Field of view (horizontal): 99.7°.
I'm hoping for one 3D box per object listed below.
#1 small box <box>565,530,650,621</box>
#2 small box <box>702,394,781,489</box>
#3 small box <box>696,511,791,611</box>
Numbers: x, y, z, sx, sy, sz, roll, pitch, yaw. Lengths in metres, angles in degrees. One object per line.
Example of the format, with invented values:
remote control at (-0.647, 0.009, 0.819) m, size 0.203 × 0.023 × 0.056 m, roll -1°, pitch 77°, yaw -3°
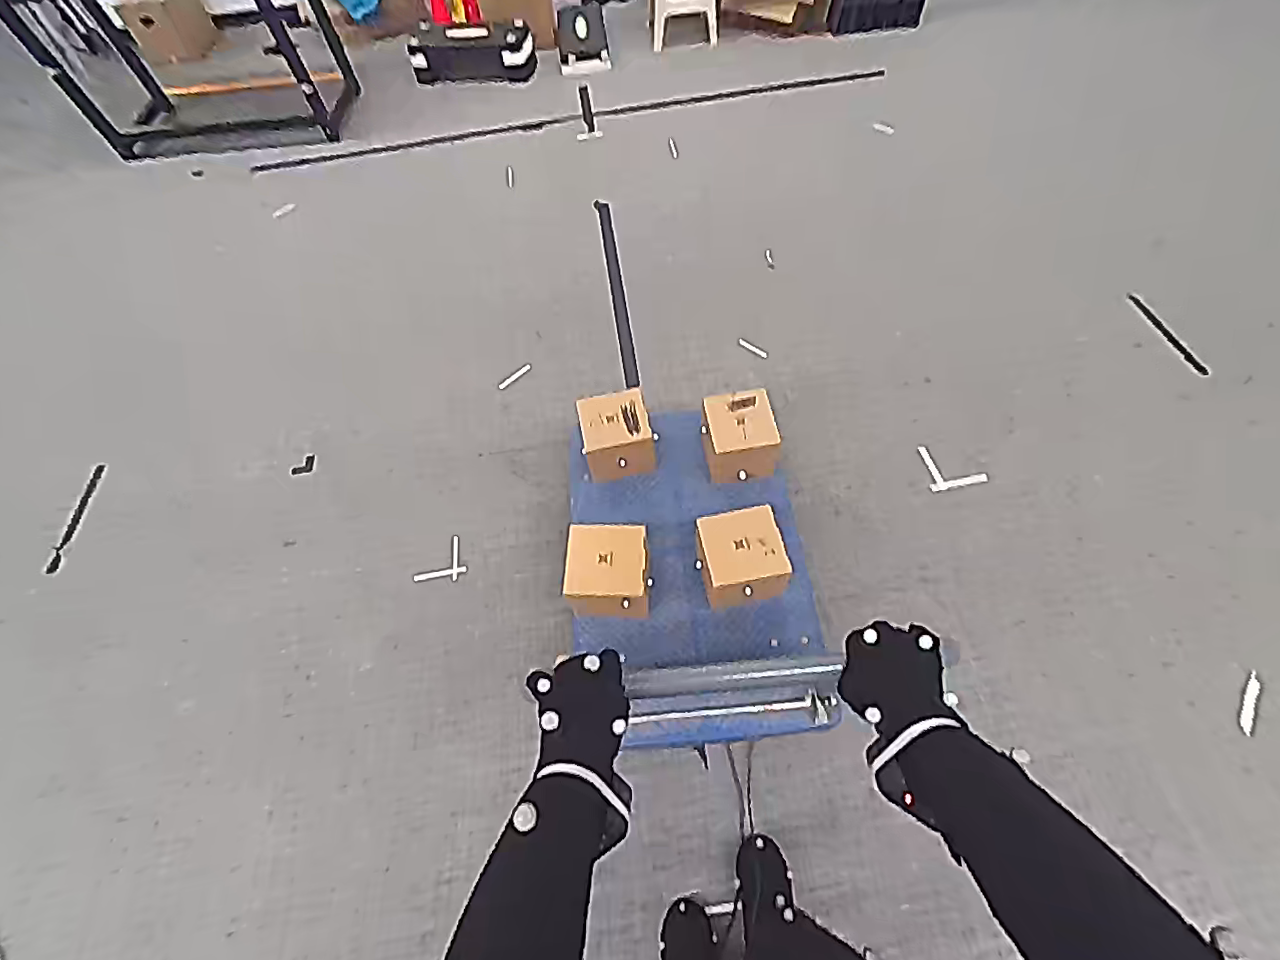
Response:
small box at (-0.068, 0.227, 1.267) m, size 0.179 × 0.176 × 0.168 m, roll 0°, pitch 59°, yaw 3°
small box at (0.260, -0.099, 1.432) m, size 0.168 × 0.176 × 0.179 m, roll -9°, pitch 60°, yaw 0°
small box at (0.234, 0.194, 1.261) m, size 0.179 × 0.176 × 0.168 m, roll -11°, pitch 59°, yaw -2°
